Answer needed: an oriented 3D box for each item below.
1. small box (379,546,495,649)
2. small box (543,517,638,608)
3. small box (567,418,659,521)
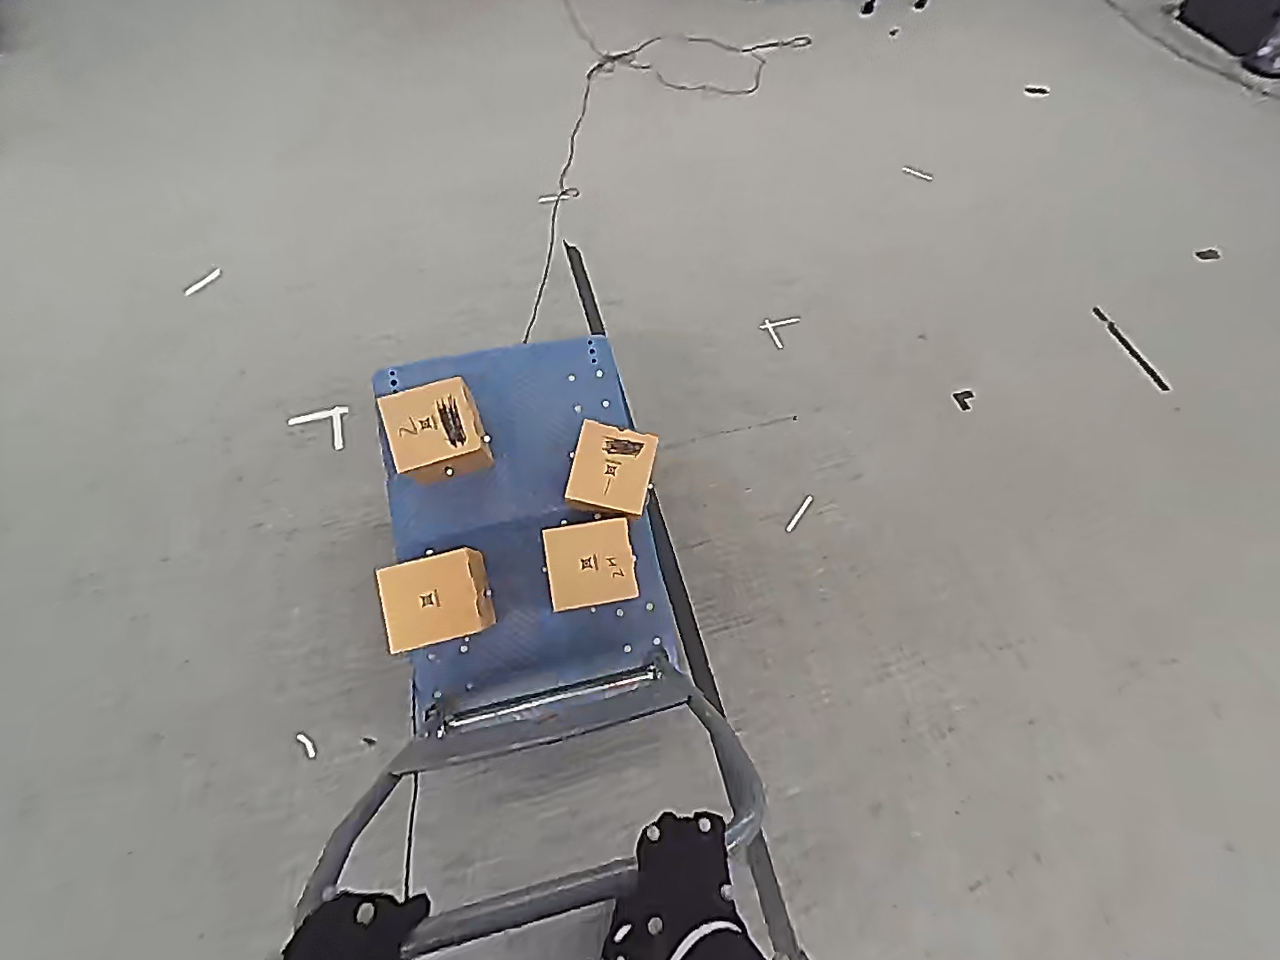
[{"bbox_3d":[-0.413,0.244,1.125,0.179,0.176,0.168,-13,81,-10],"label":"small box"},{"bbox_3d":[-0.106,0.180,1.169,0.179,0.176,0.168,-8,81,-7],"label":"small box"},{"bbox_3d":[-0.063,-0.016,1.210,0.168,0.176,0.179,13,79,-3],"label":"small box"}]
